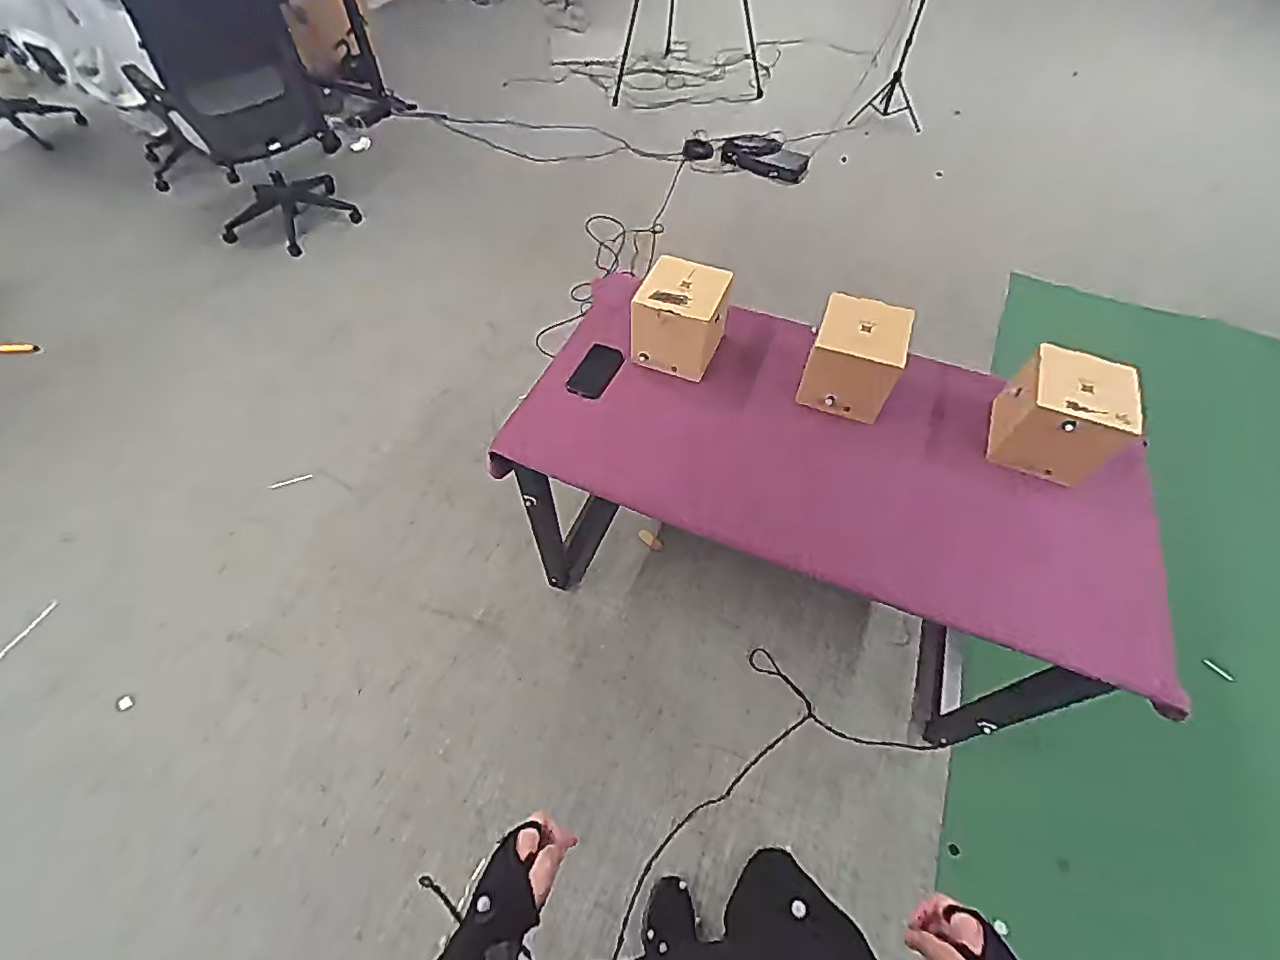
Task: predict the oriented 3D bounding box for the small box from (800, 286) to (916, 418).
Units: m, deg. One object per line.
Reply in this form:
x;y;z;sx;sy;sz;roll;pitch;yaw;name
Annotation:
0.438;-0.258;1.103;0.168;0.176;0.179;18;59;13;small box

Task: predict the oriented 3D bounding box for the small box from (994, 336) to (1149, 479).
0.796;-0.134;1.014;0.168;0.176;0.179;20;58;14;small box

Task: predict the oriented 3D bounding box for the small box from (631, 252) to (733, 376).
0.091;-0.354;1.167;0.168;0.176;0.179;19;58;12;small box
